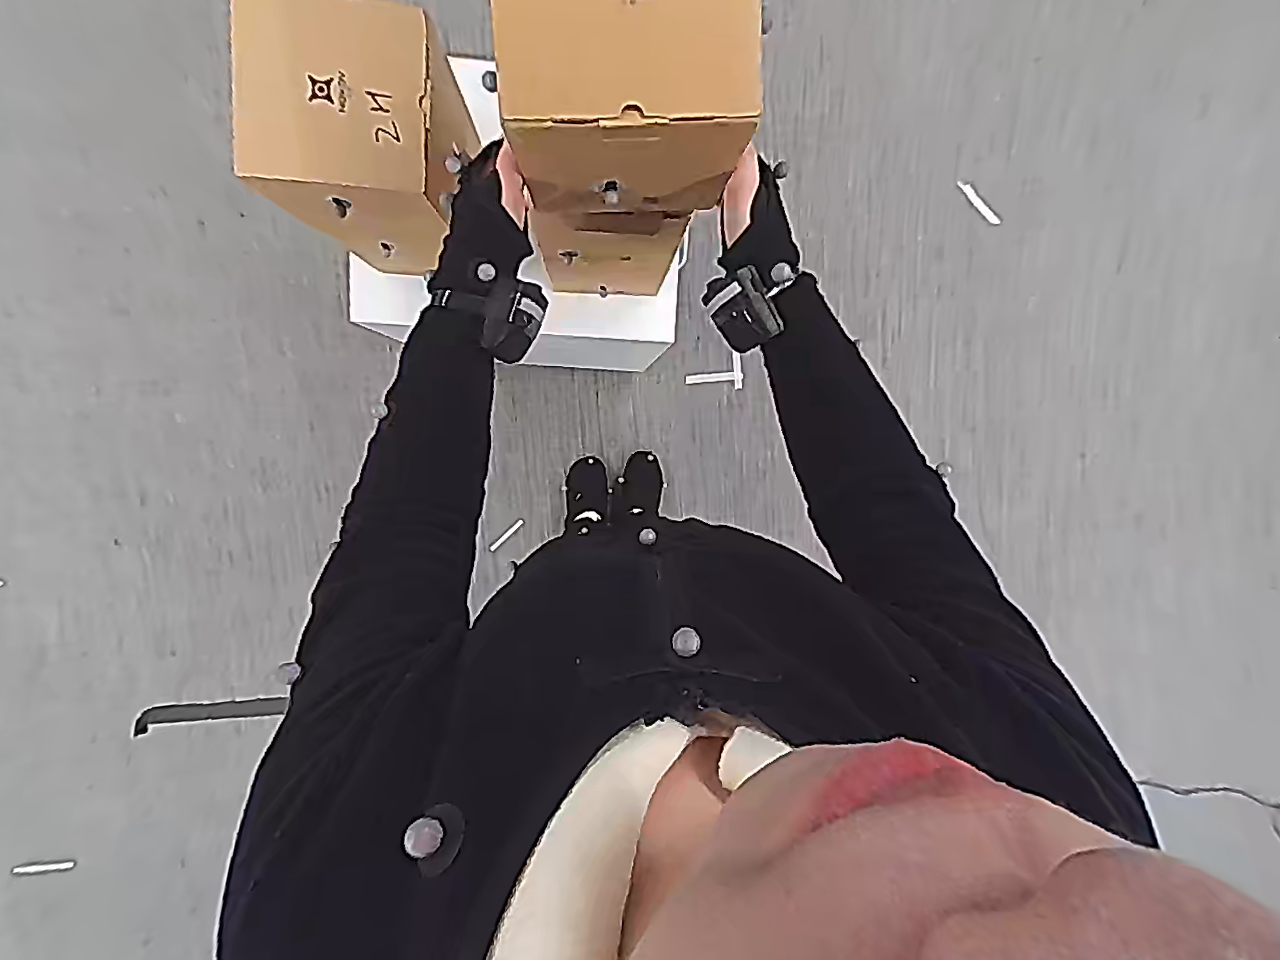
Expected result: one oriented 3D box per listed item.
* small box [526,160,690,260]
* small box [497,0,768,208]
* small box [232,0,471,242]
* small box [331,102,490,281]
[{"bbox_3d":[-0.033,-0.358,0.604,0.168,0.176,0.179,1,96,-5],"label":"small box"},{"bbox_3d":[-0.010,-0.321,0.398,0.168,0.176,0.179,-3,100,-3],"label":"small box"},{"bbox_3d":[-0.292,-0.369,0.579,0.179,0.176,0.168,3,97,-6],"label":"small box"},{"bbox_3d":[-0.305,-0.392,0.742,0.168,0.176,0.179,3,95,-5],"label":"small box"}]
